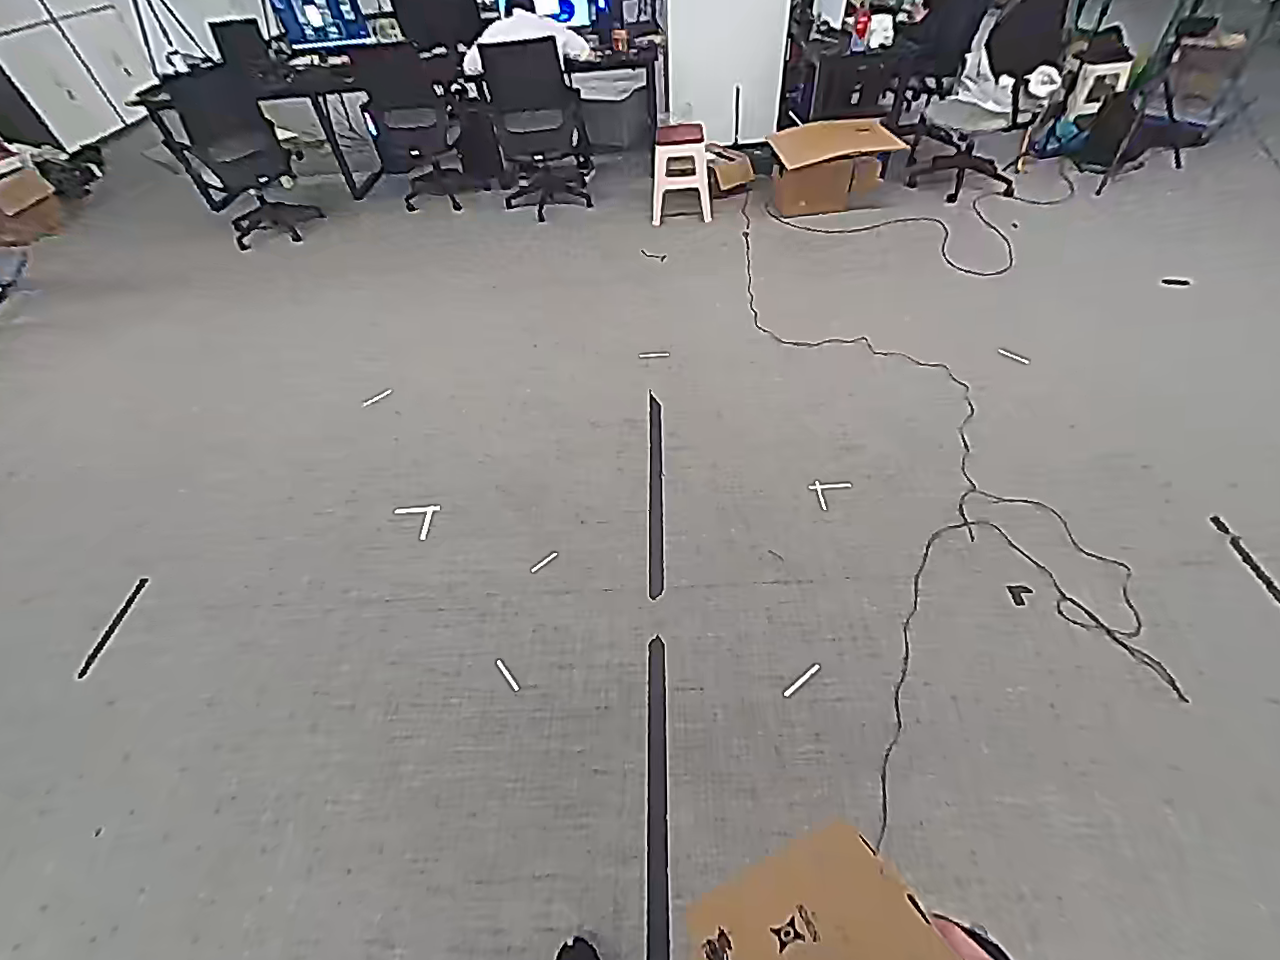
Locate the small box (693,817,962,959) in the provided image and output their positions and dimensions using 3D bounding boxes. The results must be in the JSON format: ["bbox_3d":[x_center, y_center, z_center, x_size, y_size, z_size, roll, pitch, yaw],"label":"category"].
[{"bbox_3d":[0.168,0.434,0.438,0.179,0.168,0.176,-27,90,-5],"label":"small box"}]
